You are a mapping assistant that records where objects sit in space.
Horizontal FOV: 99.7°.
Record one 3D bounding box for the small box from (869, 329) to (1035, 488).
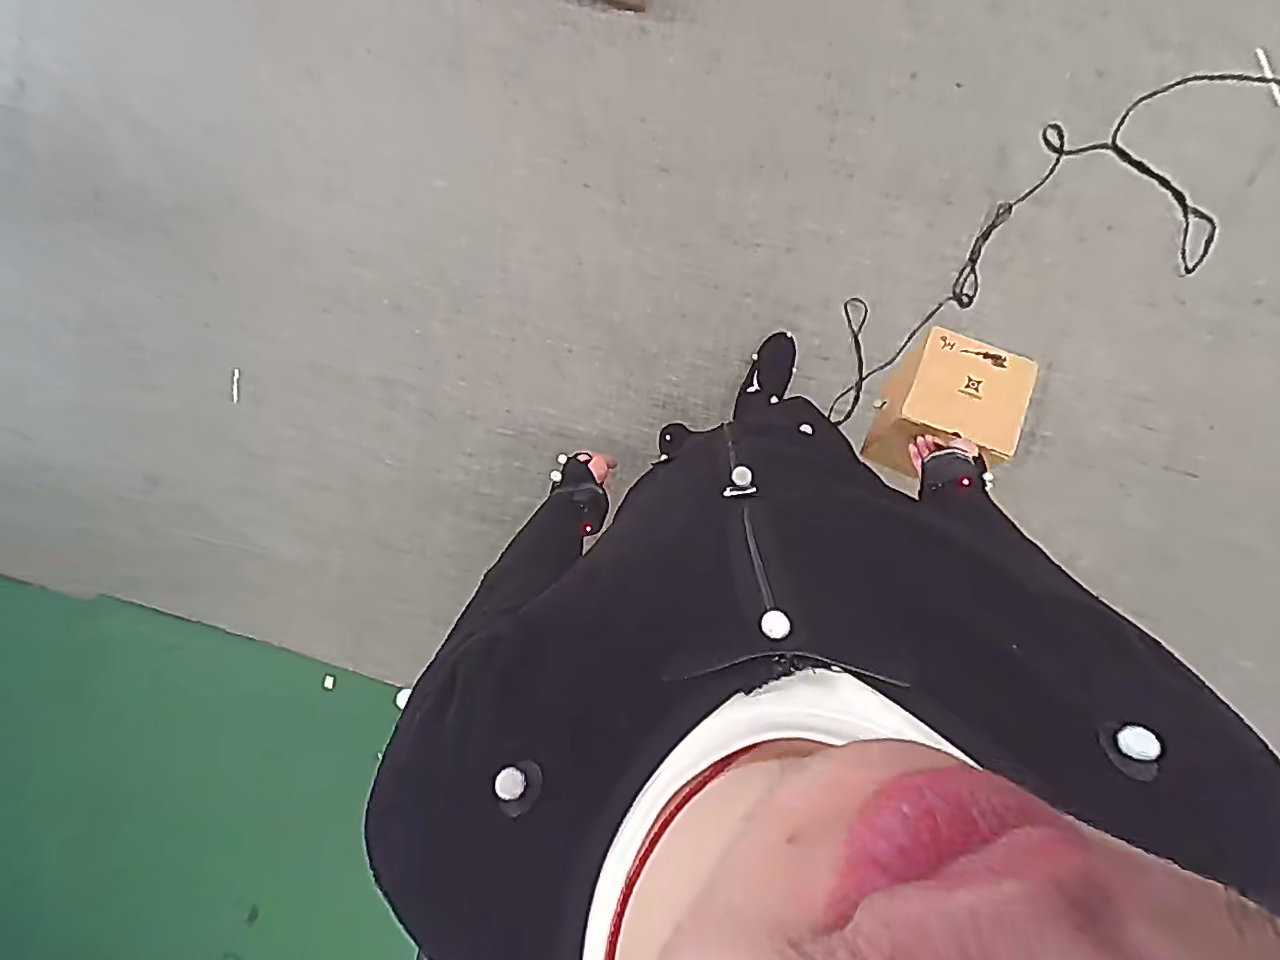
[{"bbox_3d":[0.497,-0.108,0.885,0.168,0.176,0.179,21,72,11],"label":"small box"}]
